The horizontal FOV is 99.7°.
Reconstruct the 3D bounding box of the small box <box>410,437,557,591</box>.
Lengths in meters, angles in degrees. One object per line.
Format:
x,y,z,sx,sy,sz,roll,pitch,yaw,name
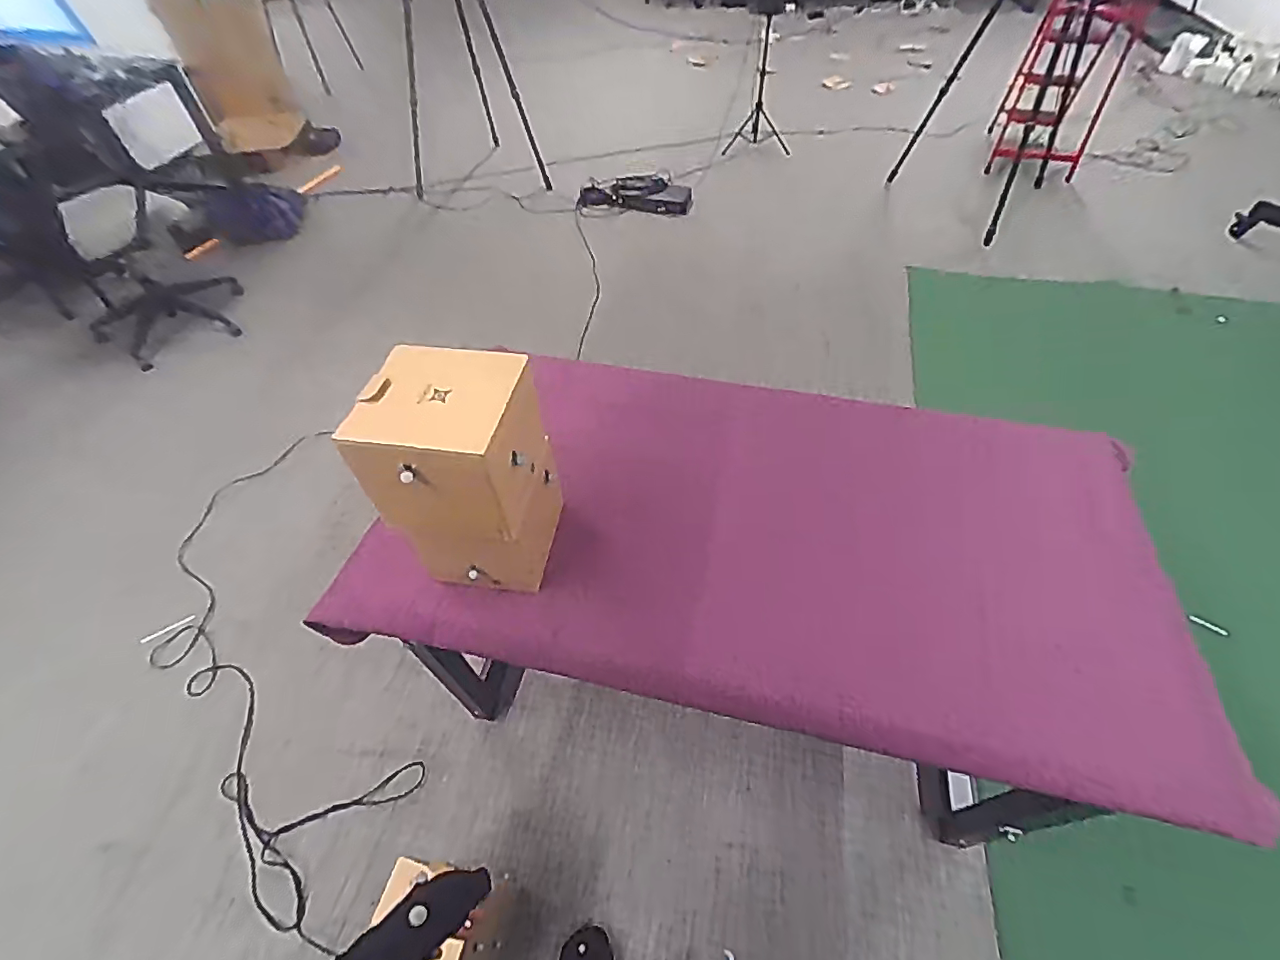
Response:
-0.229,0.044,0.819,0.168,0.176,0.179,7,51,6,small box

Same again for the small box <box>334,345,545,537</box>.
-0.230,-0.045,0.681,0.179,0.176,0.168,7,52,6,small box

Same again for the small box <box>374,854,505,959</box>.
-0.386,0.881,1.083,0.168,0.176,0.179,11,54,10,small box
